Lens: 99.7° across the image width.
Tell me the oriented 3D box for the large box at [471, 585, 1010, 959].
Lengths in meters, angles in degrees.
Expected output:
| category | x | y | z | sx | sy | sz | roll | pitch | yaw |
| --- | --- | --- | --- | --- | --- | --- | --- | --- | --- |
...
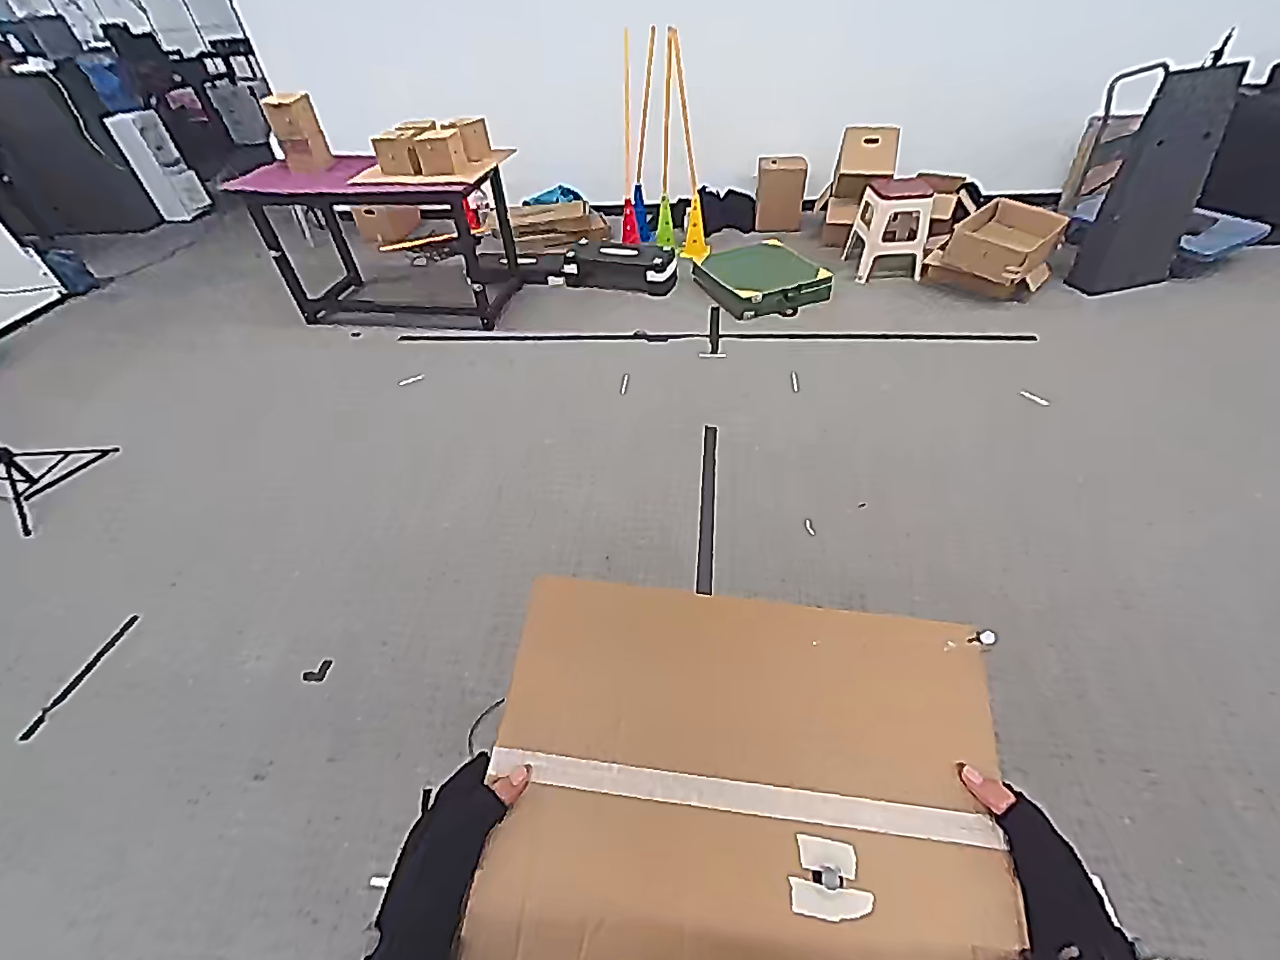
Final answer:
| category | x | y | z | sx | sy | sz | roll | pitch | yaw |
| --- | --- | --- | --- | --- | --- | --- | --- | --- | --- |
| large box | 0.088 | 0.322 | 0.581 | 0.408 | 0.320 | 0.320 | 5 | 64 | 5 |
